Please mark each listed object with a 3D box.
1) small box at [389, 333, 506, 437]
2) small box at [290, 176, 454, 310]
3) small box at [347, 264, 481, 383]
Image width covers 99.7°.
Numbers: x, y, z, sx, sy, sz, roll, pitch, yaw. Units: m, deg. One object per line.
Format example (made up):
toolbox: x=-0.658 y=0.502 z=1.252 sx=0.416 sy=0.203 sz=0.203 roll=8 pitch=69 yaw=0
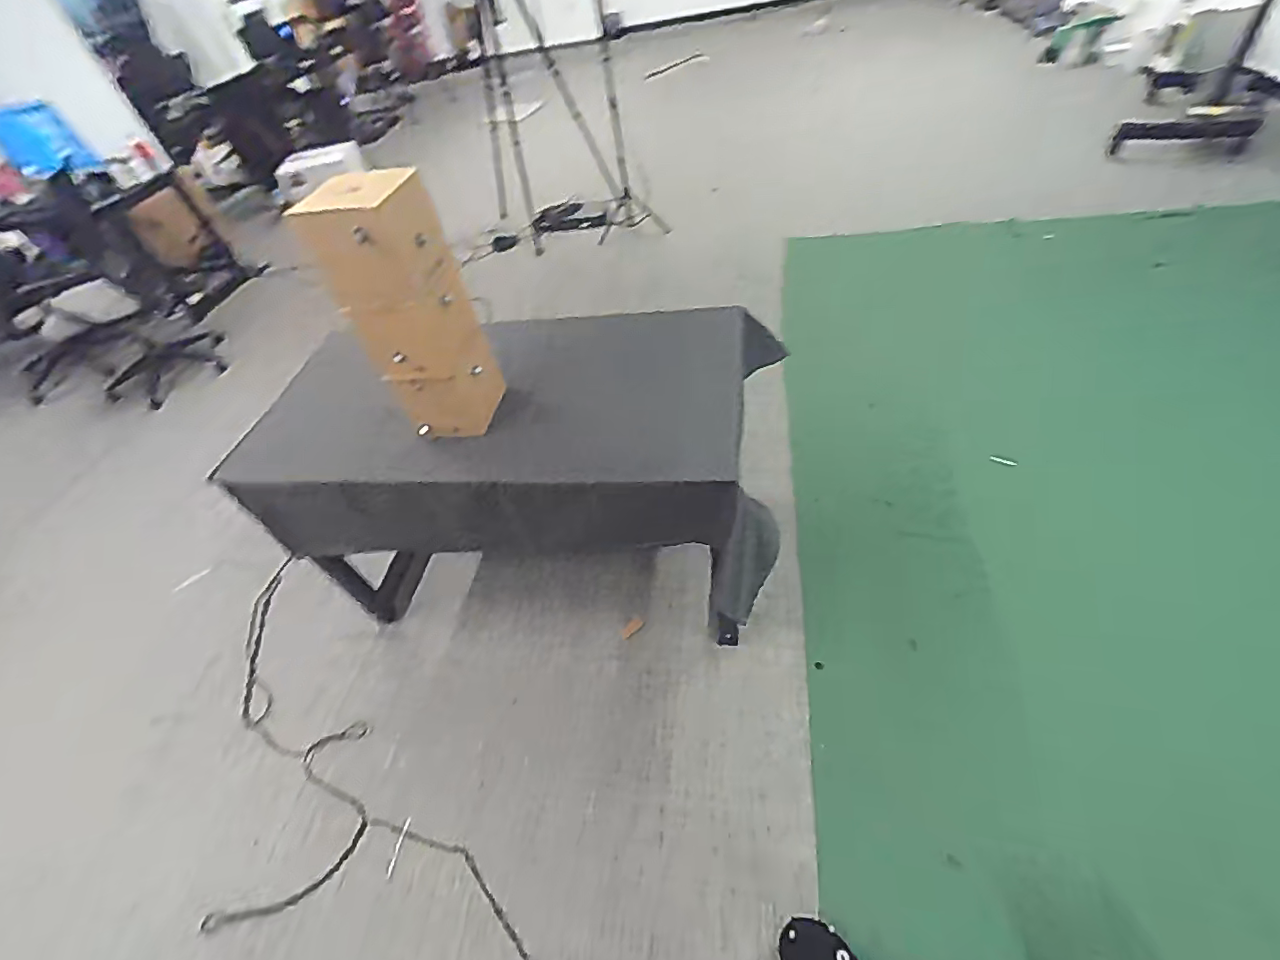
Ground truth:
small box: x=-0.422 y=-0.210 z=1.224 sx=0.168 sy=0.176 sz=0.179 roll=0 pitch=47 yaw=12
small box: x=-0.469 y=-0.425 z=0.982 sx=0.179 sy=0.176 sz=0.168 roll=1 pitch=48 yaw=13
small box: x=-0.446 y=-0.317 z=1.105 sx=0.168 sy=0.176 sz=0.179 roll=0 pitch=49 yaw=12
